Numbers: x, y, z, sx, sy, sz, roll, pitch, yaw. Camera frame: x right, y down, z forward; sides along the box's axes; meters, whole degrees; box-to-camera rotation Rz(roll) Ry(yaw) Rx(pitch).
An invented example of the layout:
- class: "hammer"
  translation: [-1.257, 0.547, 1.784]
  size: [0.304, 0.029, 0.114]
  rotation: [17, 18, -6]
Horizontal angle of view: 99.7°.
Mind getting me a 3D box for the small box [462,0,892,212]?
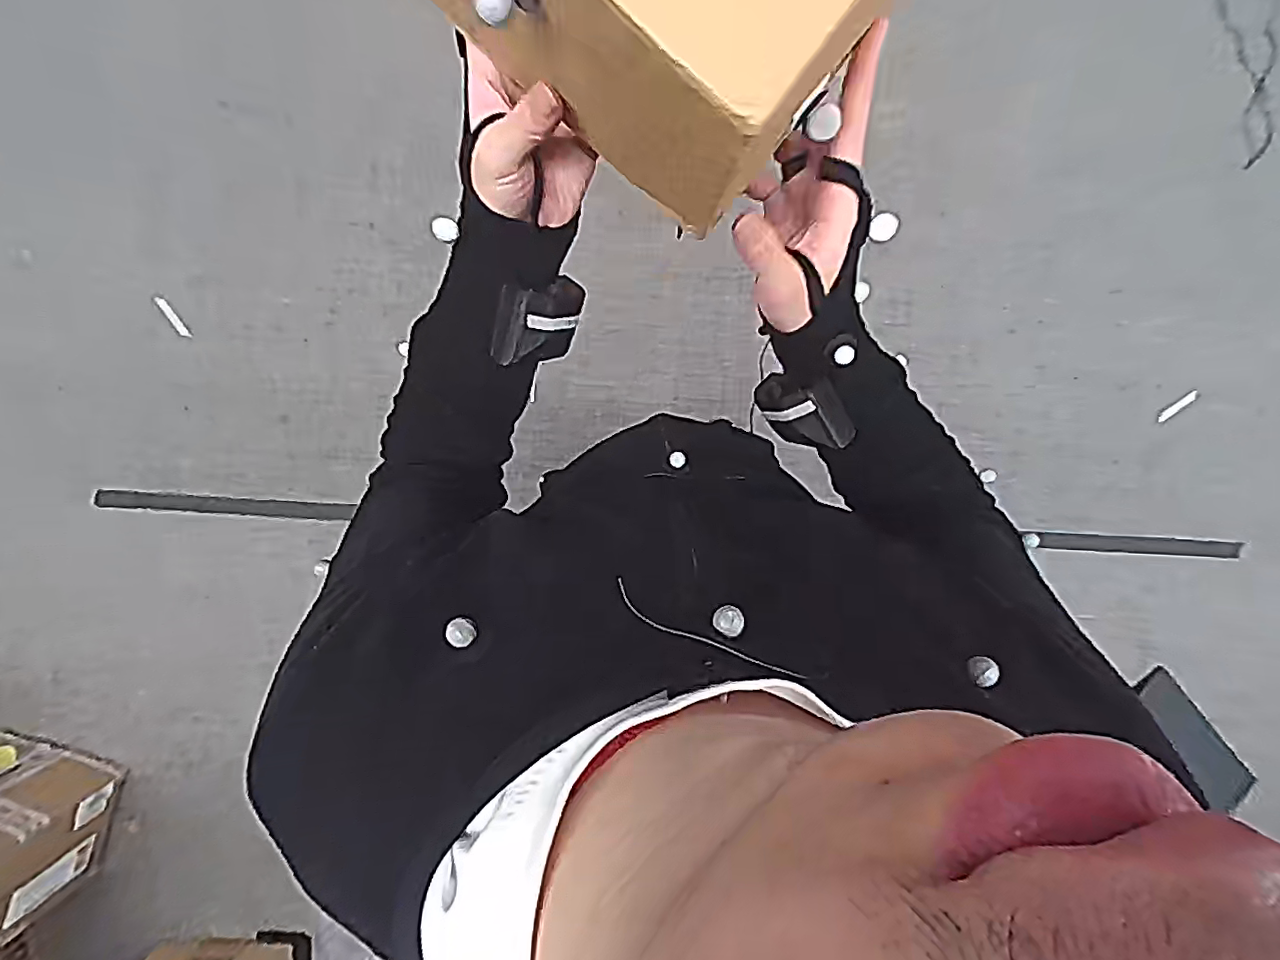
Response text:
- class: "small box"
  translation: [0.021, -0.234, 0.205]
  size: [0.179, 0.176, 0.168]
  rotation: [37, 103, -8]
